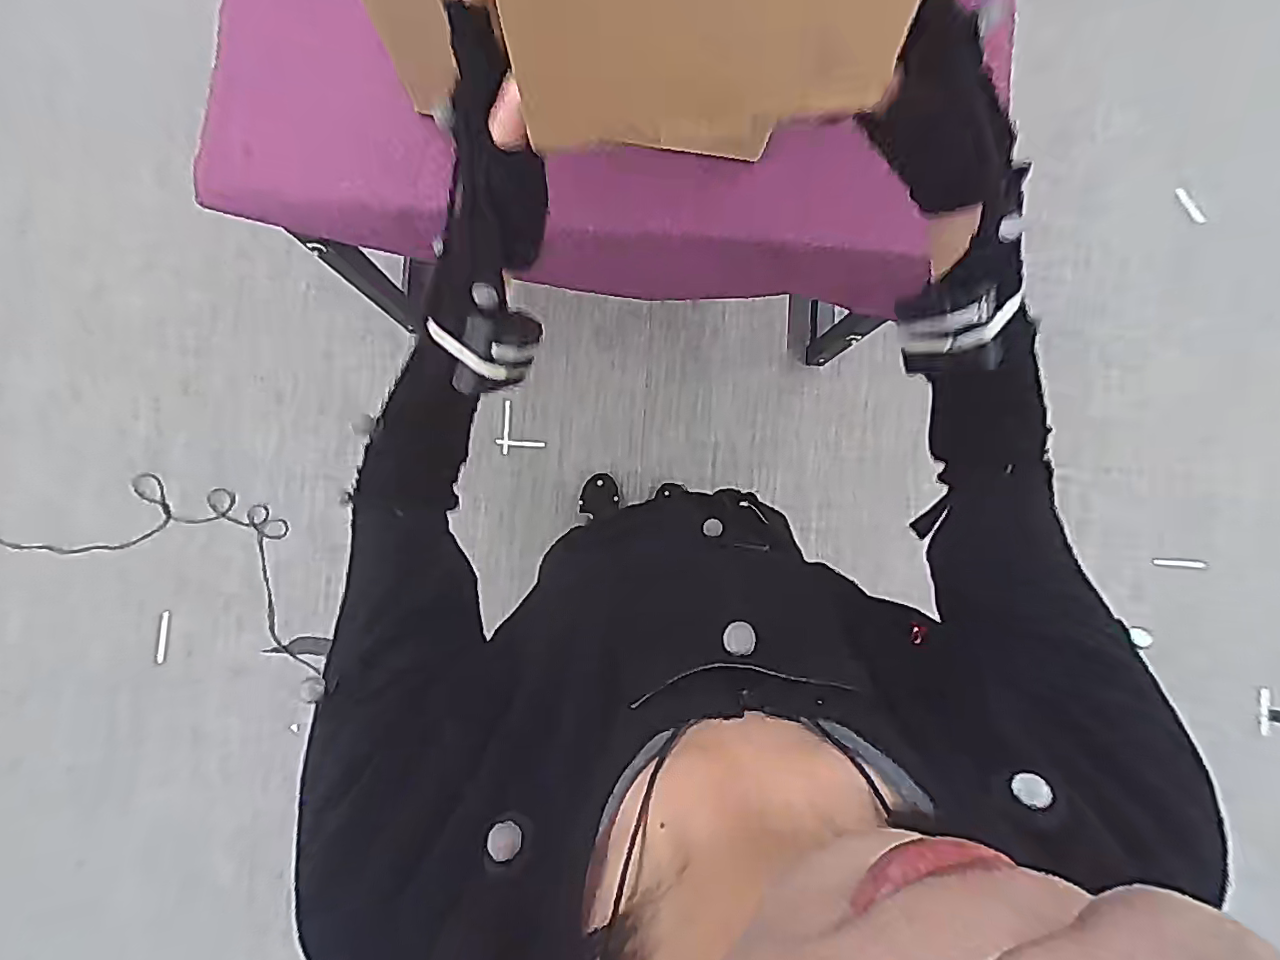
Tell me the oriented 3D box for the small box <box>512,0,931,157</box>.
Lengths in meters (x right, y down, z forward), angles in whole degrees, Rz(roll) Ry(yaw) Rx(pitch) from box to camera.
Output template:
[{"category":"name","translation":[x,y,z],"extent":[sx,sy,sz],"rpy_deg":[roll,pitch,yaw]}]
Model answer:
[{"category":"small box","translation":[0.023,-0.268,0.204],"extent":[0.168,0.179,0.176],"rpy_deg":[-8,71,1]}]
